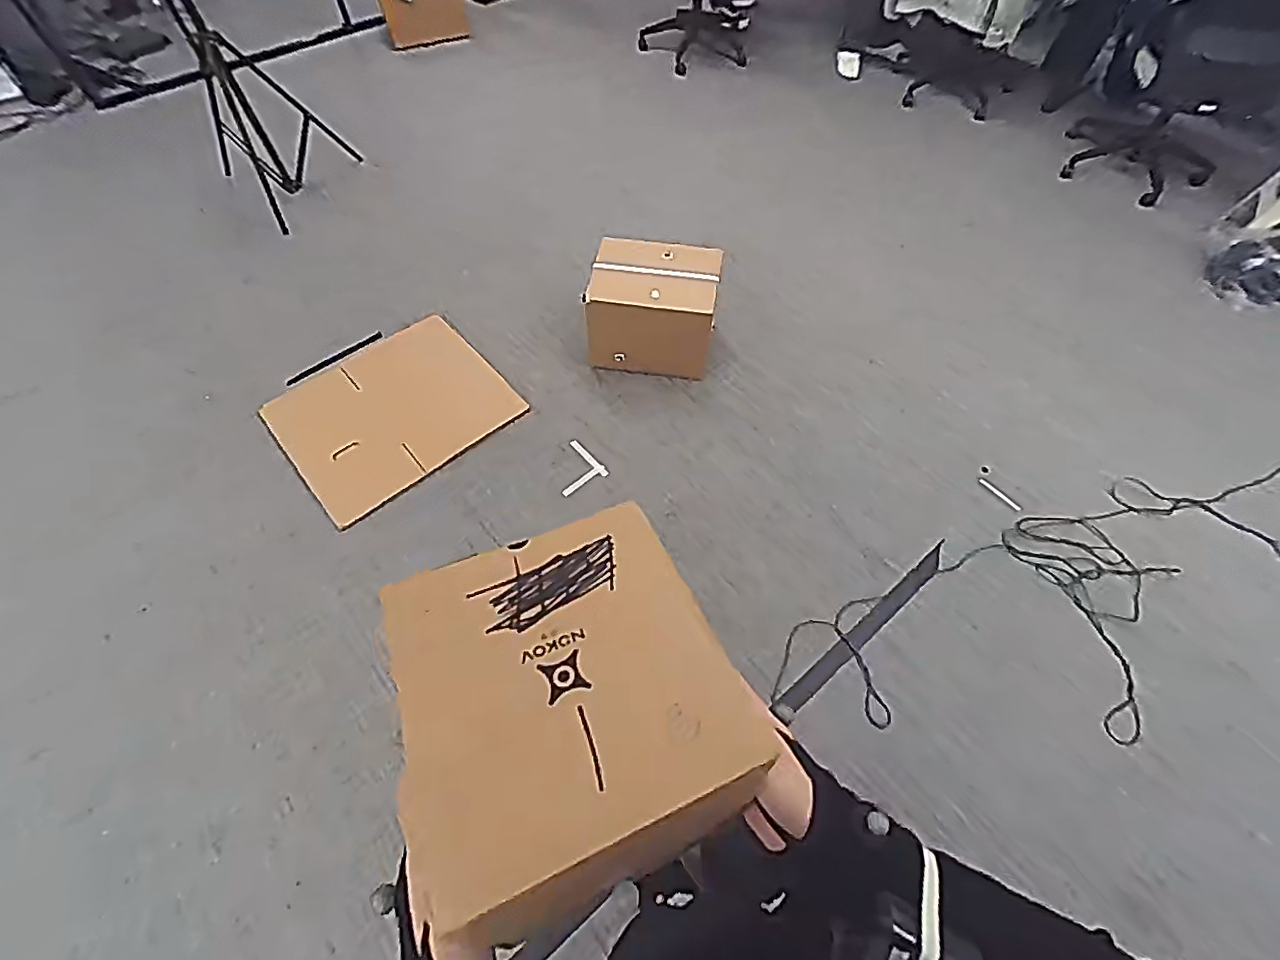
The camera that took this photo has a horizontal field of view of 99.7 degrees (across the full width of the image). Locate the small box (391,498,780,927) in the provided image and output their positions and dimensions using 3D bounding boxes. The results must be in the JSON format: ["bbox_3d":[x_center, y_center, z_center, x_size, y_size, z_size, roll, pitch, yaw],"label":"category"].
[{"bbox_3d":[-0.041,0.146,0.348,0.168,0.176,0.179,-18,51,-16],"label":"small box"}]
